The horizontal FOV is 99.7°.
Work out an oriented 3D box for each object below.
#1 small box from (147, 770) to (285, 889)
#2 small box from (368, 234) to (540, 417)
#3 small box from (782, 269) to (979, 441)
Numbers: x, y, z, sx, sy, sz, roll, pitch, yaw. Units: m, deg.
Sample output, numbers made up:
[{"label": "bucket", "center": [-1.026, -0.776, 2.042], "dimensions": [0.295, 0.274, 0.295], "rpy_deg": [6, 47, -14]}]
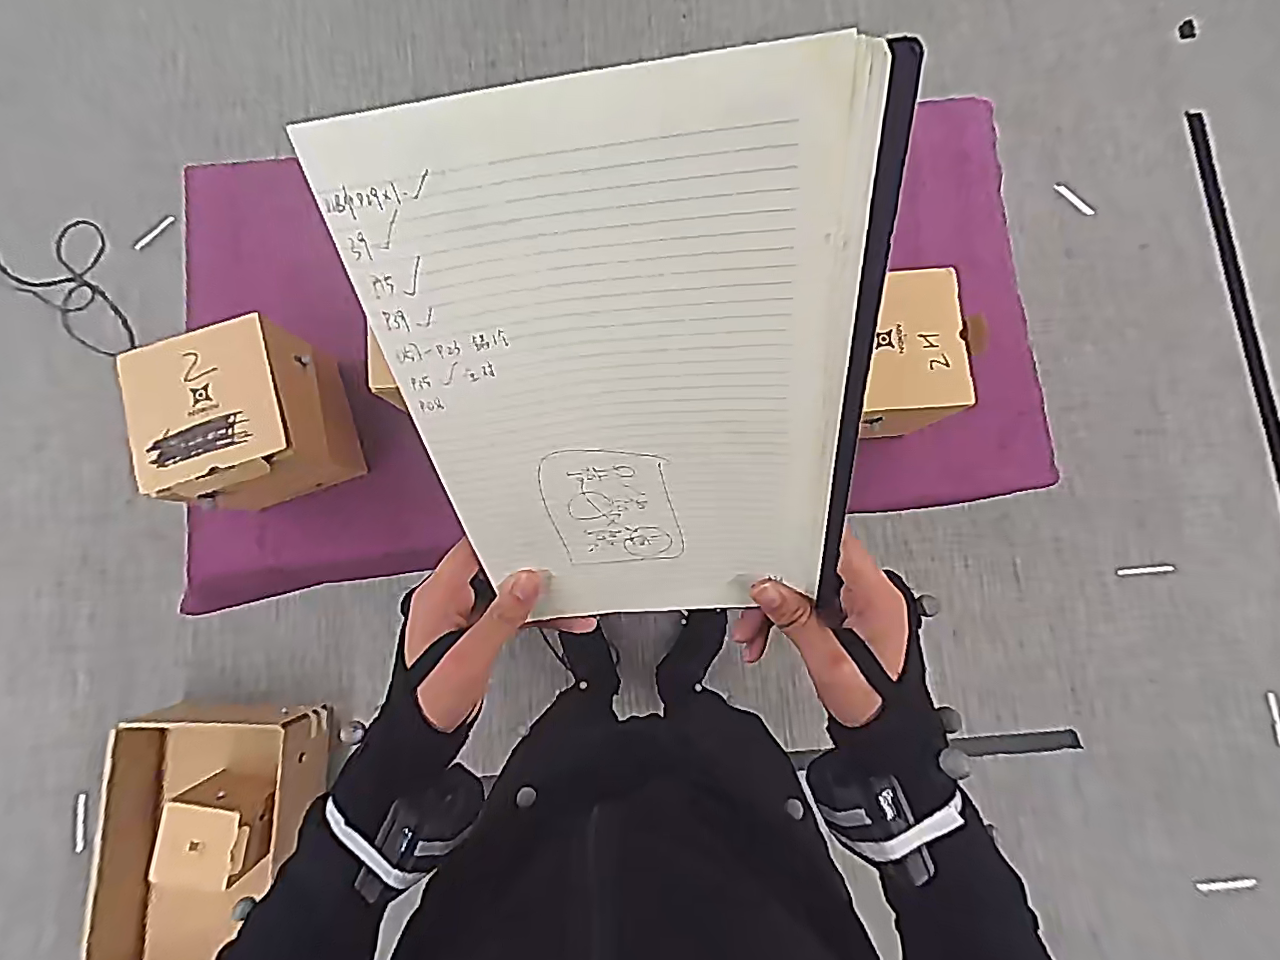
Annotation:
[{"label": "small box", "center": [-0.970, 0.800, 1.255], "dimensions": [0.179, 0.176, 0.168], "rpy_deg": [9, 83, 1]}, {"label": "small box", "center": [-0.226, -0.183, 0.692], "dimensions": [0.168, 0.176, 0.179], "rpy_deg": [-4, 82, -1]}, {"label": "small box", "center": [0.286, -0.147, 0.687], "dimensions": [0.179, 0.176, 0.168], "rpy_deg": [-3, 83, -1]}]
